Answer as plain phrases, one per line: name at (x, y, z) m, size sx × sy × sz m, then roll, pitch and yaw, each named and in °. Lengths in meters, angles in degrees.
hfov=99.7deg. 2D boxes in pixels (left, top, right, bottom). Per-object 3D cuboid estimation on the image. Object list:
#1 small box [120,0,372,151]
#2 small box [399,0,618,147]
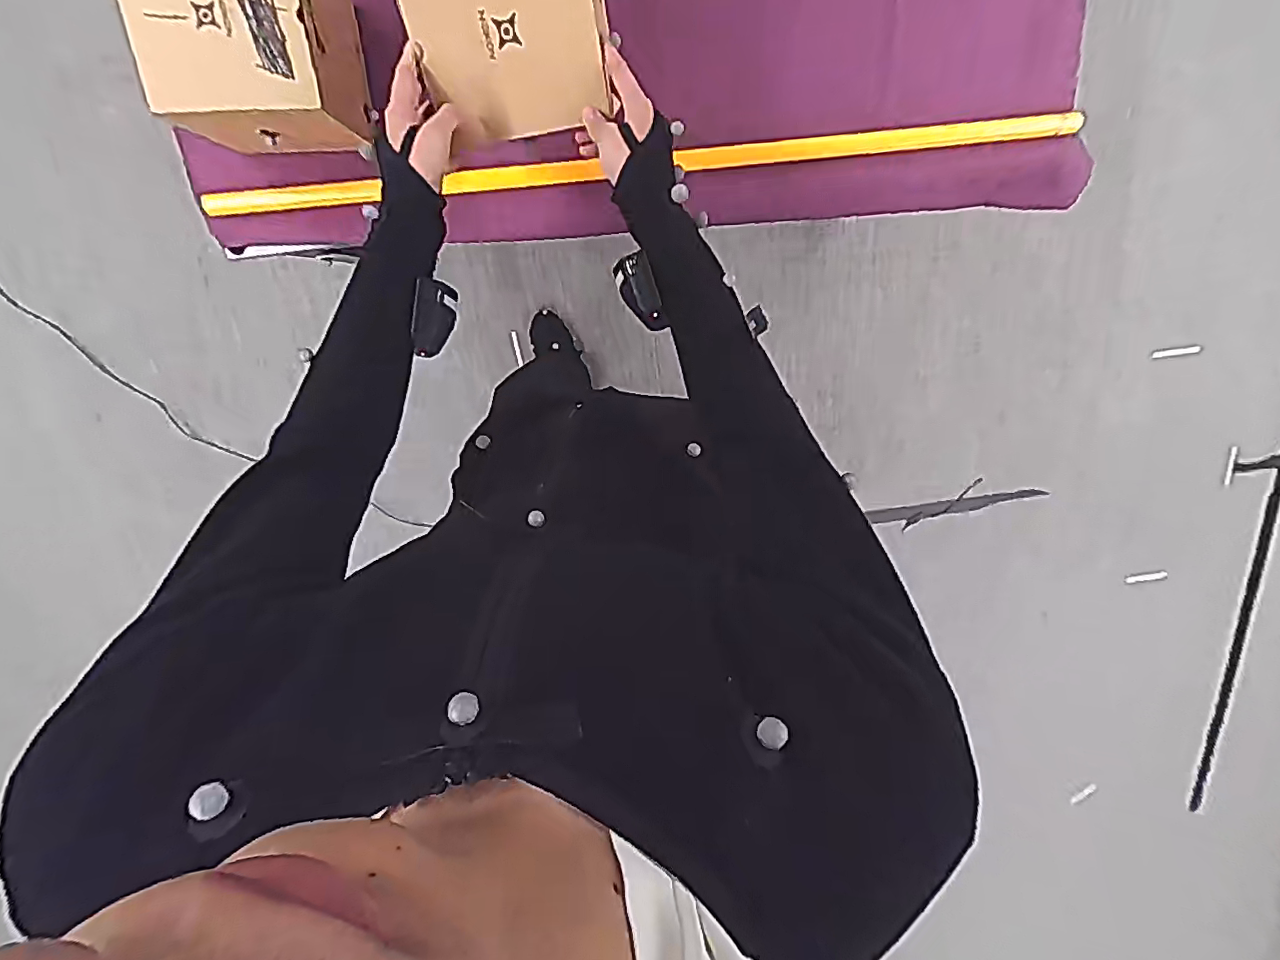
small box at (-0.427, -0.486, 0.611) m, size 0.179 × 0.176 × 0.168 m, roll -4°, pitch 109°, yaw -3°
small box at (-0.121, -0.459, 0.549) m, size 0.179 × 0.176 × 0.168 m, roll -6°, pitch 128°, yaw 8°
